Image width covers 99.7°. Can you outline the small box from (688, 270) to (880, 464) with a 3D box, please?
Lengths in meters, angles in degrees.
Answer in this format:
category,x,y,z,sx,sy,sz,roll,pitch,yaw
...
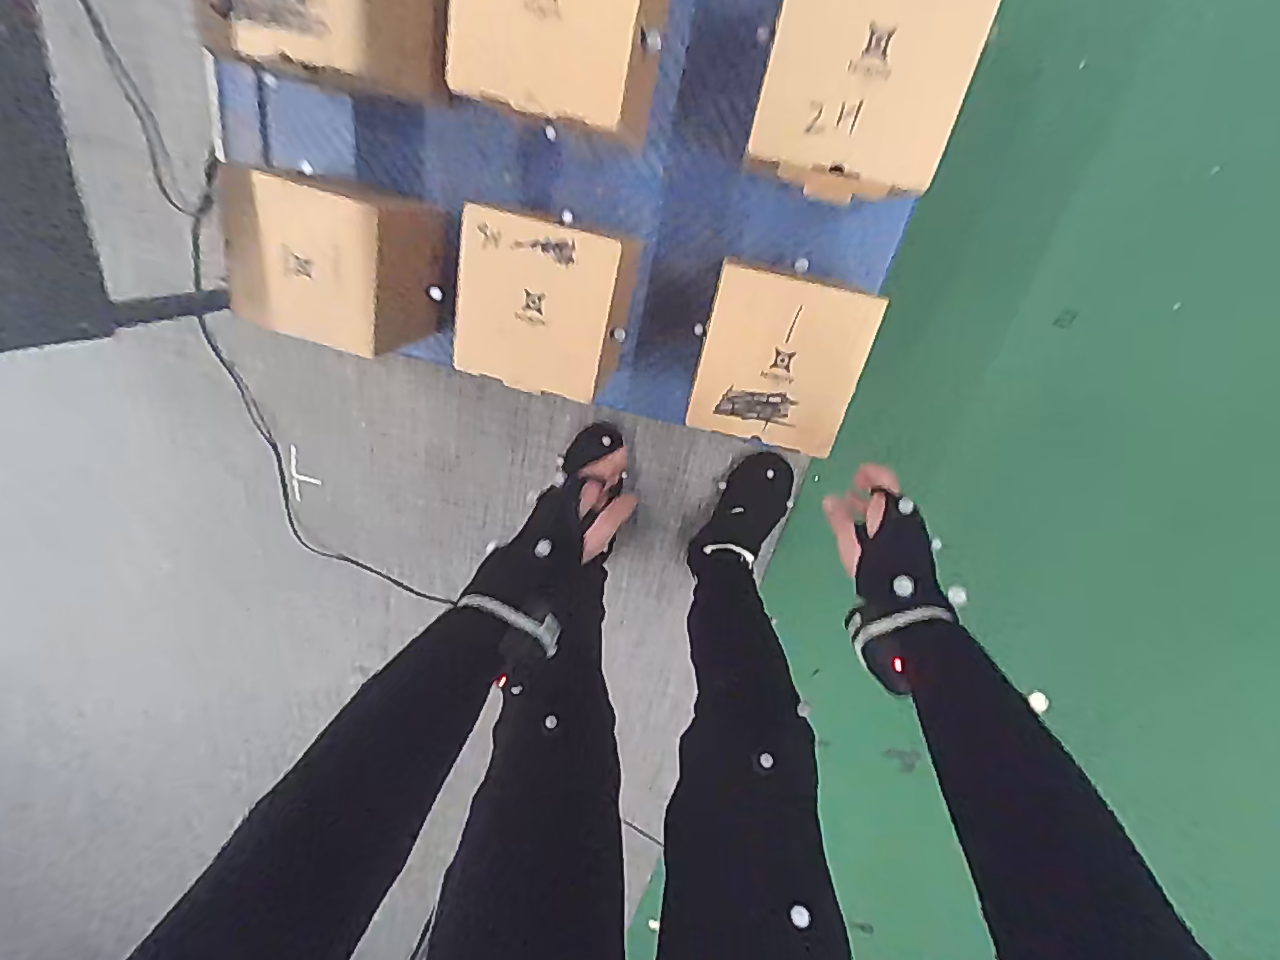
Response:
category,x,y,z,sx,sy,sz,roll,pitch,yaw
small box,0.162,-0.146,0.662,0.168,0.176,0.179,14,115,2

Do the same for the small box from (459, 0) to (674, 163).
category,x,y,z,sx,sy,sz,roll,pitch,yaw
small box,-0.064,-0.441,0.545,0.168,0.176,0.179,15,117,1

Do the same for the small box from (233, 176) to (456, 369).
category,x,y,z,sx,sy,sz,roll,pitch,yaw
small box,-0.355,-0.256,0.672,0.179,0.176,0.168,17,116,-1

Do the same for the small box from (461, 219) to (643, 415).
category,x,y,z,sx,sy,sz,roll,pitch,yaw
small box,-0.100,-0.204,0.657,0.168,0.176,0.179,15,116,1

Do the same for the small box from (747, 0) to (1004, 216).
category,x,y,z,sx,sy,sz,roll,pitch,yaw
small box,0.207,-0.374,0.532,0.168,0.176,0.179,15,116,3
